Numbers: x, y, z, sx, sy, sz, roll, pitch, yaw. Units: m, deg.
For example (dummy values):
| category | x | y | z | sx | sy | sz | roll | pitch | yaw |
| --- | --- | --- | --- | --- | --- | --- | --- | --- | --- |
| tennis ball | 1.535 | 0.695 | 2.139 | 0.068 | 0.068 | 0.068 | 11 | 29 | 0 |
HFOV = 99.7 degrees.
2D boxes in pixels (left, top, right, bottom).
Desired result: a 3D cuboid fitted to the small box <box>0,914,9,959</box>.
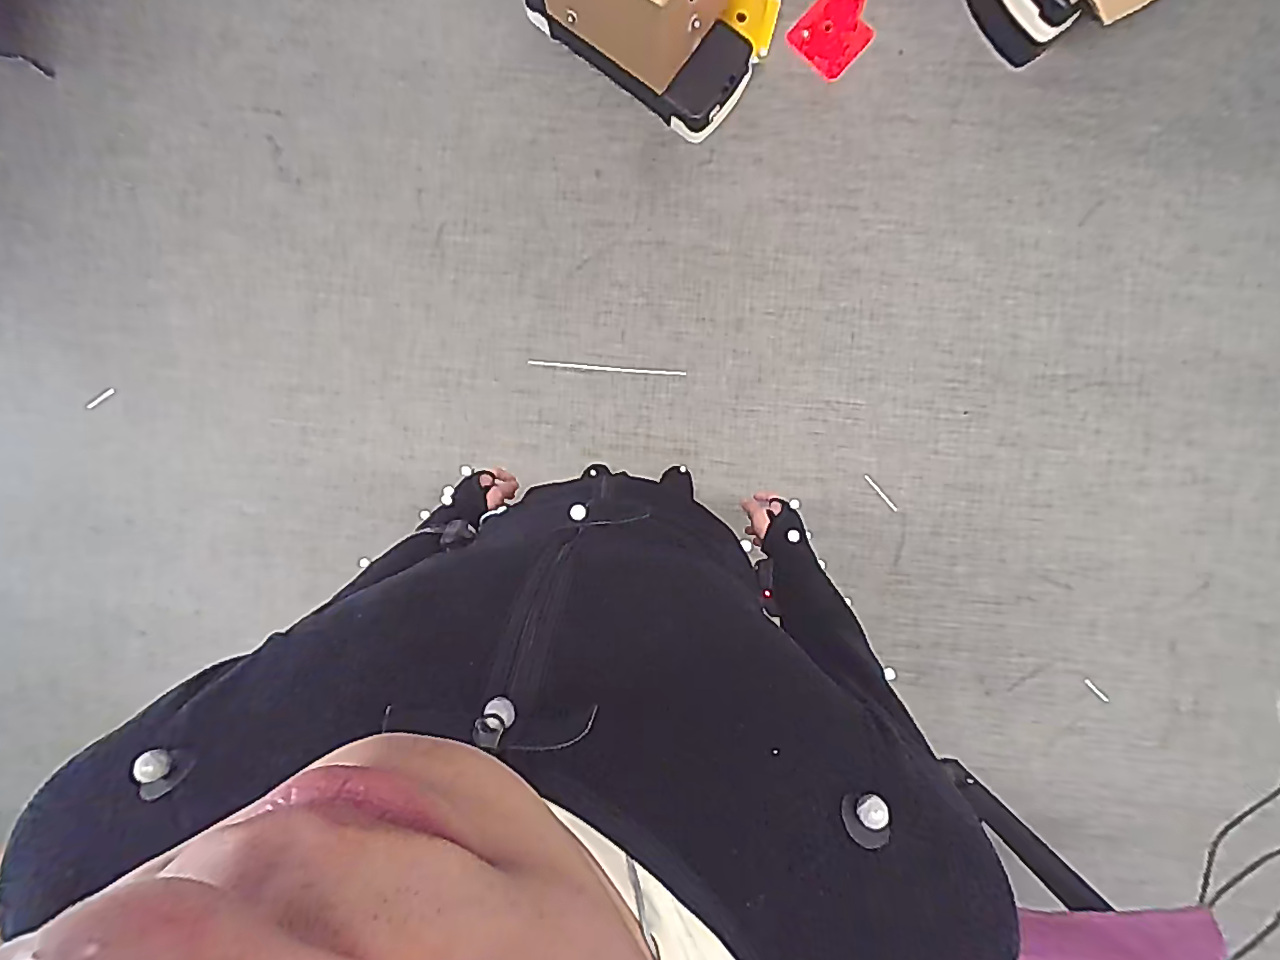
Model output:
| category | x | y | z | sx | sy | sz | roll | pitch | yaw |
| --- | --- | --- | --- | --- | --- | --- | --- | --- | --- |
| small box | -1.566 | 1.080 | 1.179 | 0.179 | 0.176 | 0.168 | 7 | 90 | 0 |
